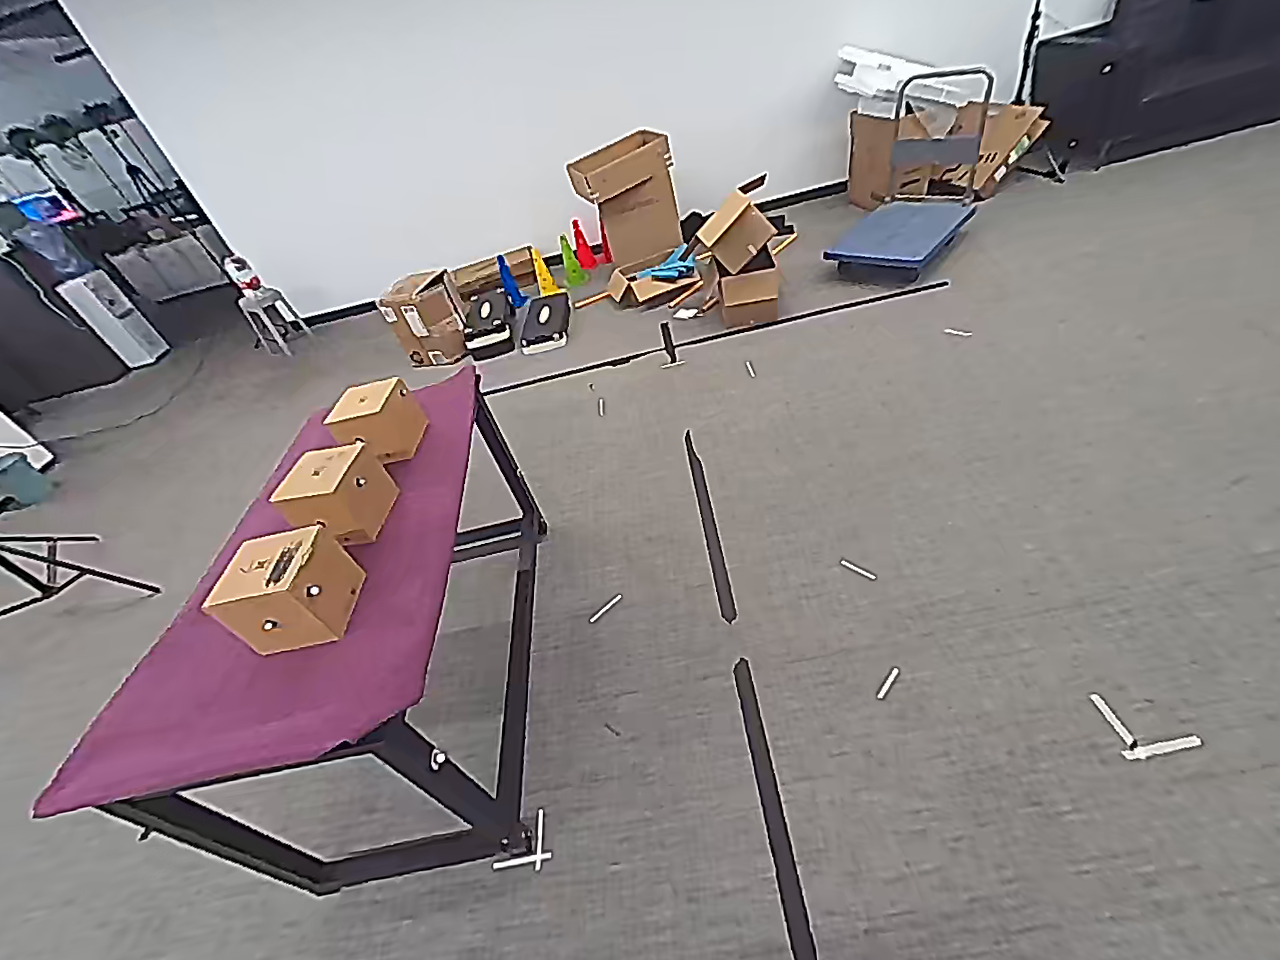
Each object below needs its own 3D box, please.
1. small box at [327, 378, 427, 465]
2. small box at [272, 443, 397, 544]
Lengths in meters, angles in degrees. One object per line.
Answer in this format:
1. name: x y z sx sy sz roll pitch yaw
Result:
1. small box: -0.728 -0.156 1.519 0.168 0.176 0.179 -11 40 8
2. small box: -0.715 0.039 1.292 0.168 0.176 0.179 -7 41 10
